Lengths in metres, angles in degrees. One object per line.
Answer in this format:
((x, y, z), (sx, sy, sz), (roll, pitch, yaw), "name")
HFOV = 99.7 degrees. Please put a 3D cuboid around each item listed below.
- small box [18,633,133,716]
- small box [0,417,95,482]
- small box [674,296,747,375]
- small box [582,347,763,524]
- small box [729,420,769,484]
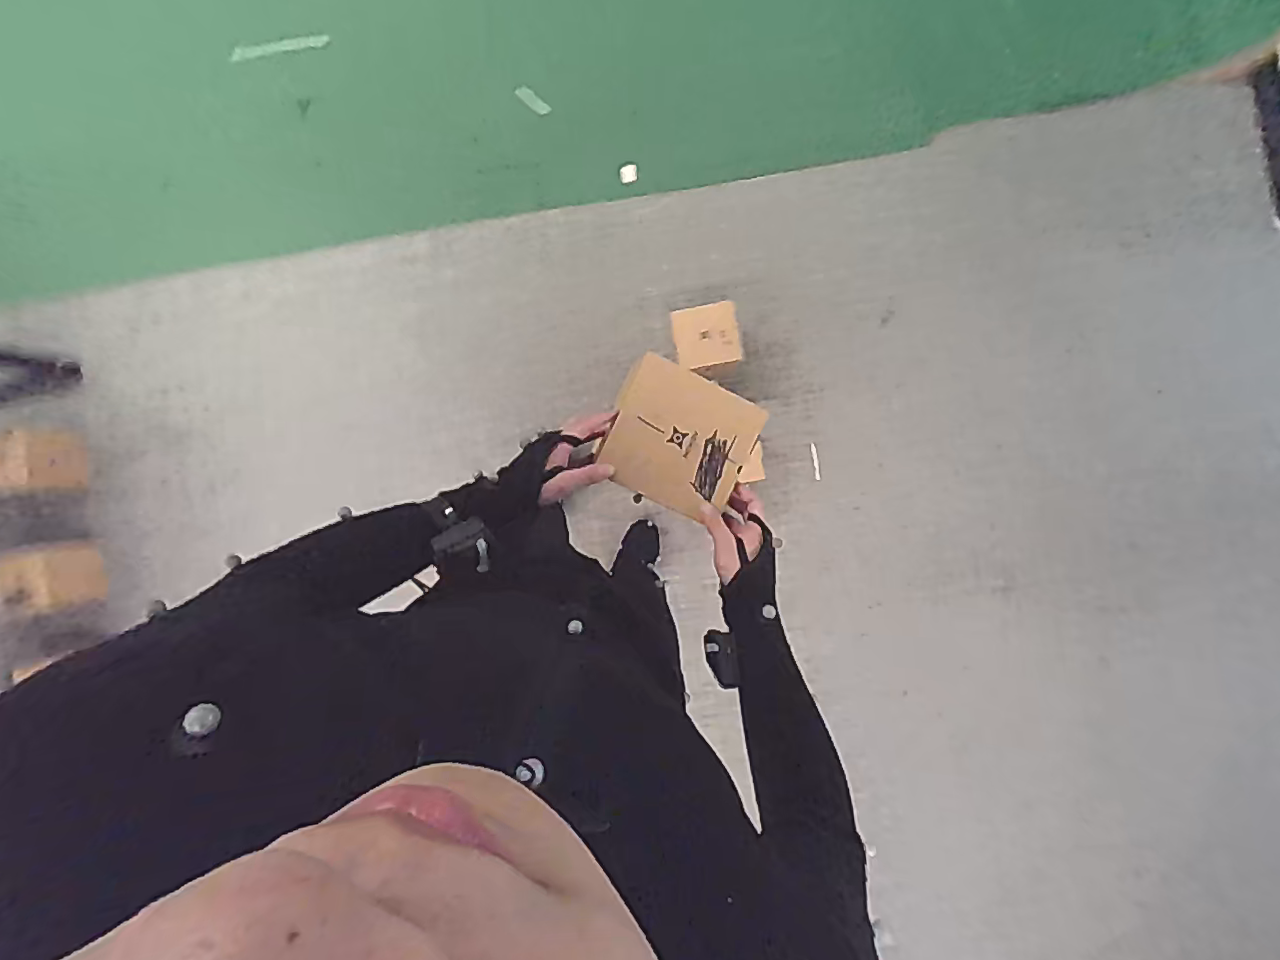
((-1.681, 0.578, 1.621), (0.168, 0.176, 0.179), (-10, 89, 3), "small box")
((-1.802, -0.089, 1.626), (0.168, 0.176, 0.179), (-6, 90, 3), "small box")
((0.194, -0.398, 1.527), (0.179, 0.176, 0.168), (-9, 90, 3), "small box")
((0.032, -0.060, 0.737), (0.179, 0.176, 0.168), (25, 91, -9), "small box")
((0.250, -0.074, 1.525), (0.179, 0.176, 0.168), (-9, 89, 3), "small box")
